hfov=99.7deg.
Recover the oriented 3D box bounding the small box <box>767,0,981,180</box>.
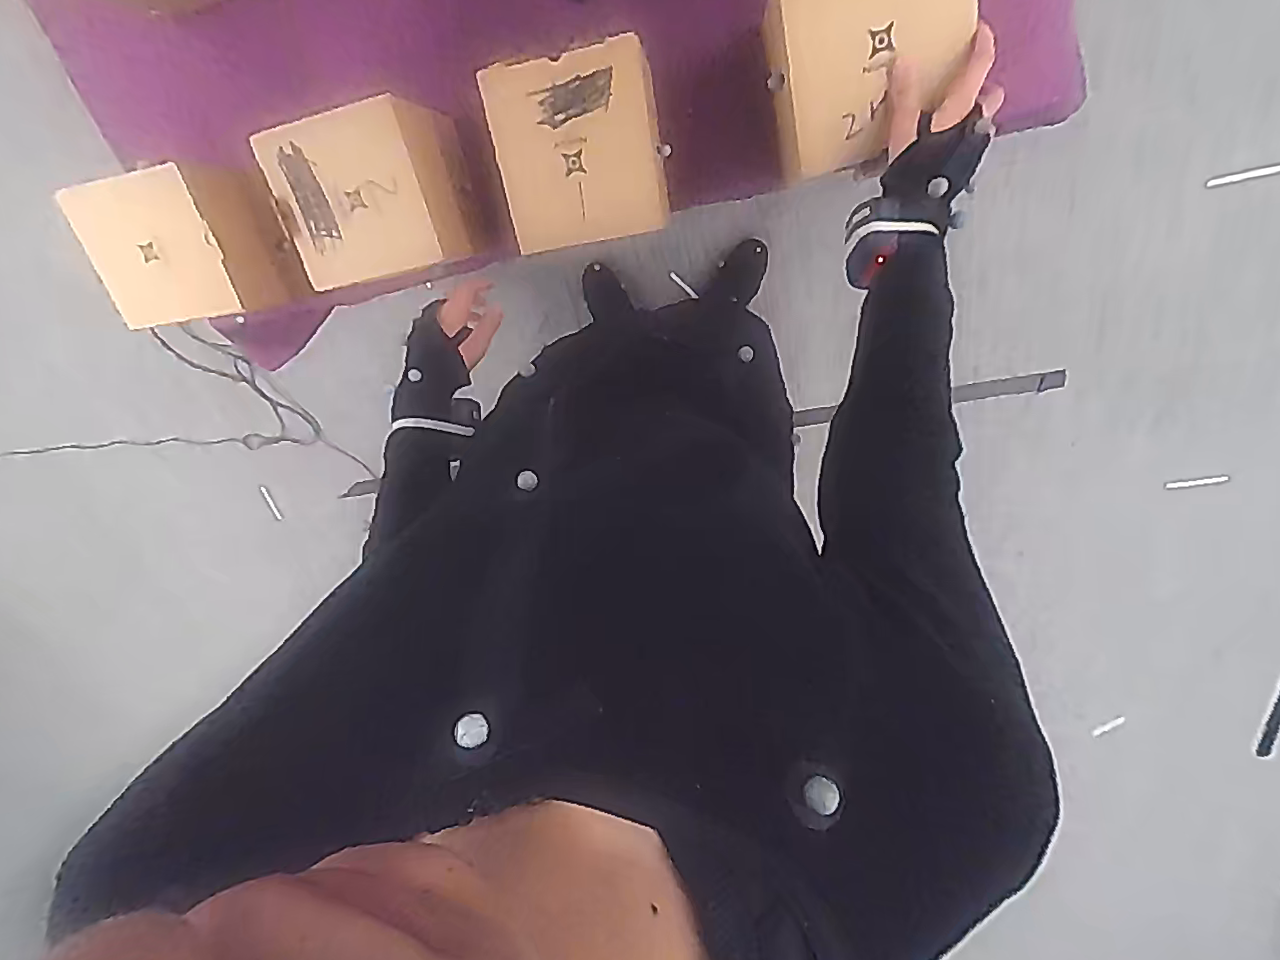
[{"bbox_3d":[0.232,-0.434,0.566,0.168,0.176,0.179,-10,115,13],"label":"small box"}]

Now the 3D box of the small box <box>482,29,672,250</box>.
[{"bbox_3d":[-0.057,-0.379,0.629,0.168,0.176,0.179,-6,118,10],"label":"small box"}]
